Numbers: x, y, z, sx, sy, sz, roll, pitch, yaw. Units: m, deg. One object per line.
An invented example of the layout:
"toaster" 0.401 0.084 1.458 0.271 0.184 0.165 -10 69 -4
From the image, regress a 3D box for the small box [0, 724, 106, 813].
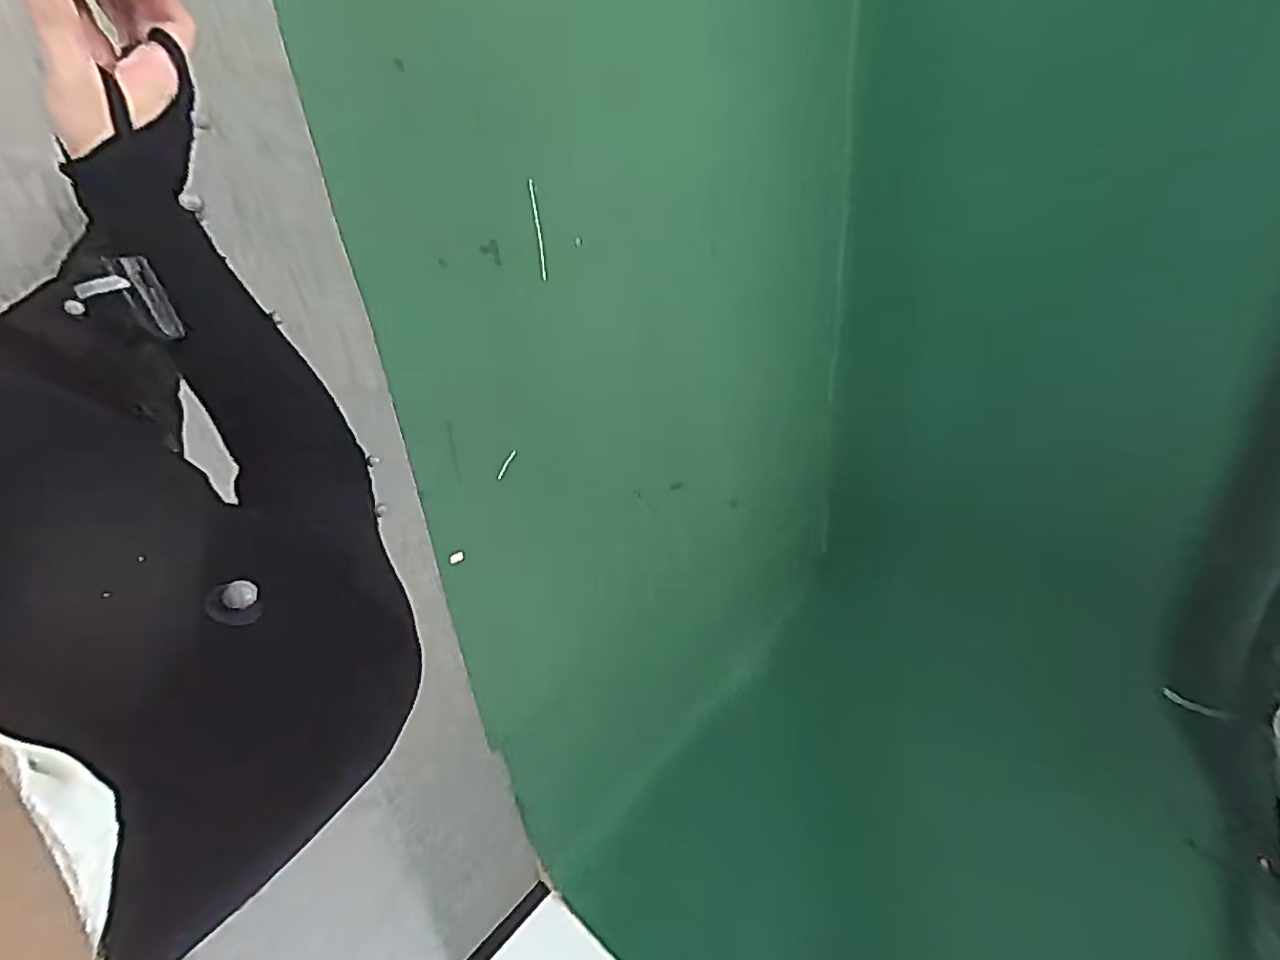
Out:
"small box" -1.267 0.657 1.132 0.179 0.176 0.168 -22 119 -43

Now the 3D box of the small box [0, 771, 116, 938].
"small box" -1.146 0.694 1.031 0.168 0.176 0.179 -21 118 -42
